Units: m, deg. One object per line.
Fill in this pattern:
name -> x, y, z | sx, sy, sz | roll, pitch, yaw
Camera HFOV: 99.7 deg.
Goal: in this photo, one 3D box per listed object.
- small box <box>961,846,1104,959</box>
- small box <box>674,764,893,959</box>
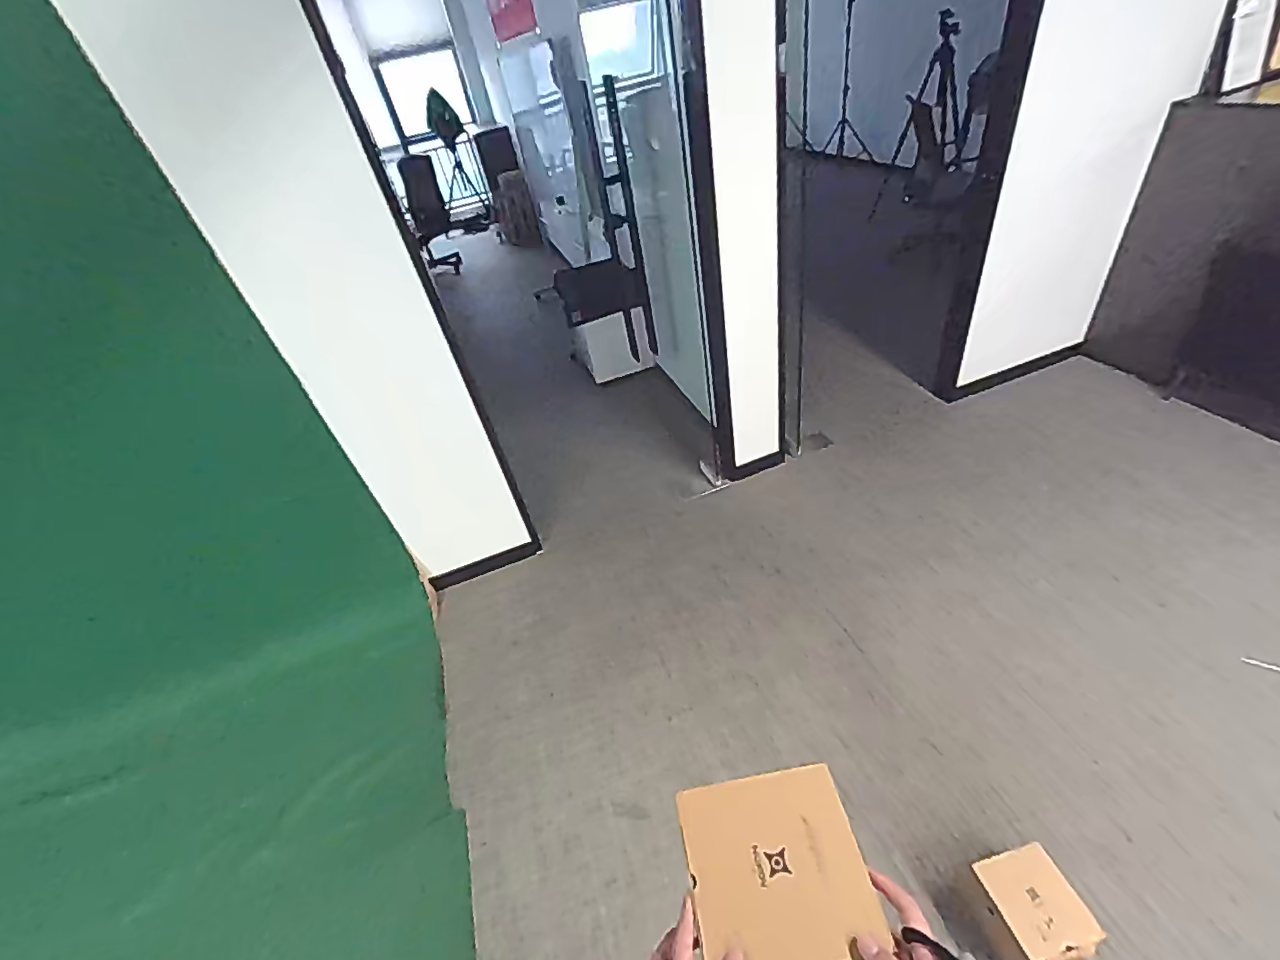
small box -> 0.832, 0.931, 1.171 | 0.168, 0.176, 0.179 | -13, 40, 2
small box -> 0.143, 0.441, 0.589 | 0.179, 0.176, 0.168 | -11, 42, -1
